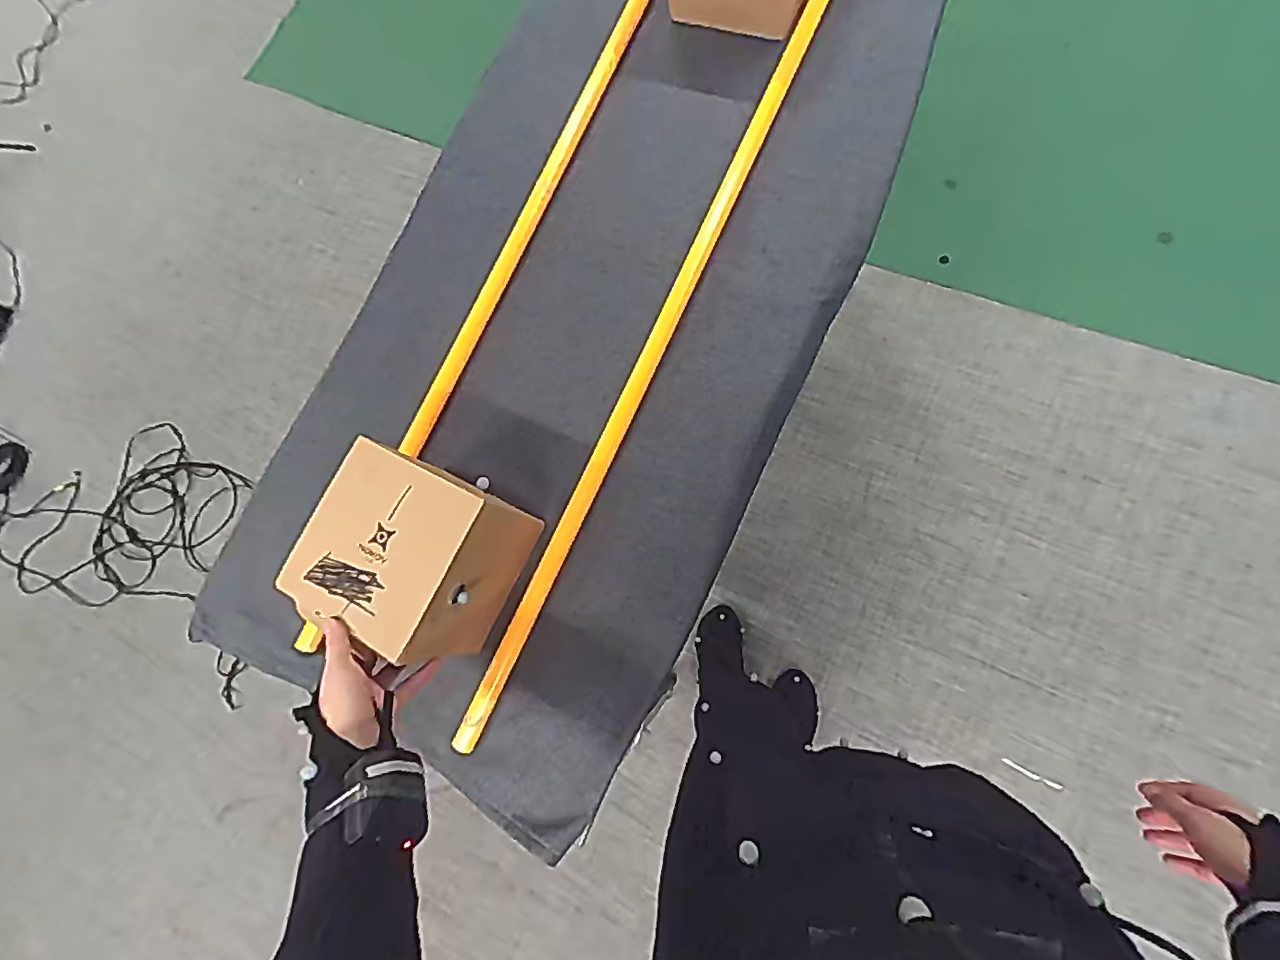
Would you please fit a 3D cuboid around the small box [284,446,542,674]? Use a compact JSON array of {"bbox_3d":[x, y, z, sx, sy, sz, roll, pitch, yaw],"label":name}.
[{"bbox_3d":[-0.235,0.091,0.607,0.168,0.176,0.179,25,82,15],"label":"small box"}]
